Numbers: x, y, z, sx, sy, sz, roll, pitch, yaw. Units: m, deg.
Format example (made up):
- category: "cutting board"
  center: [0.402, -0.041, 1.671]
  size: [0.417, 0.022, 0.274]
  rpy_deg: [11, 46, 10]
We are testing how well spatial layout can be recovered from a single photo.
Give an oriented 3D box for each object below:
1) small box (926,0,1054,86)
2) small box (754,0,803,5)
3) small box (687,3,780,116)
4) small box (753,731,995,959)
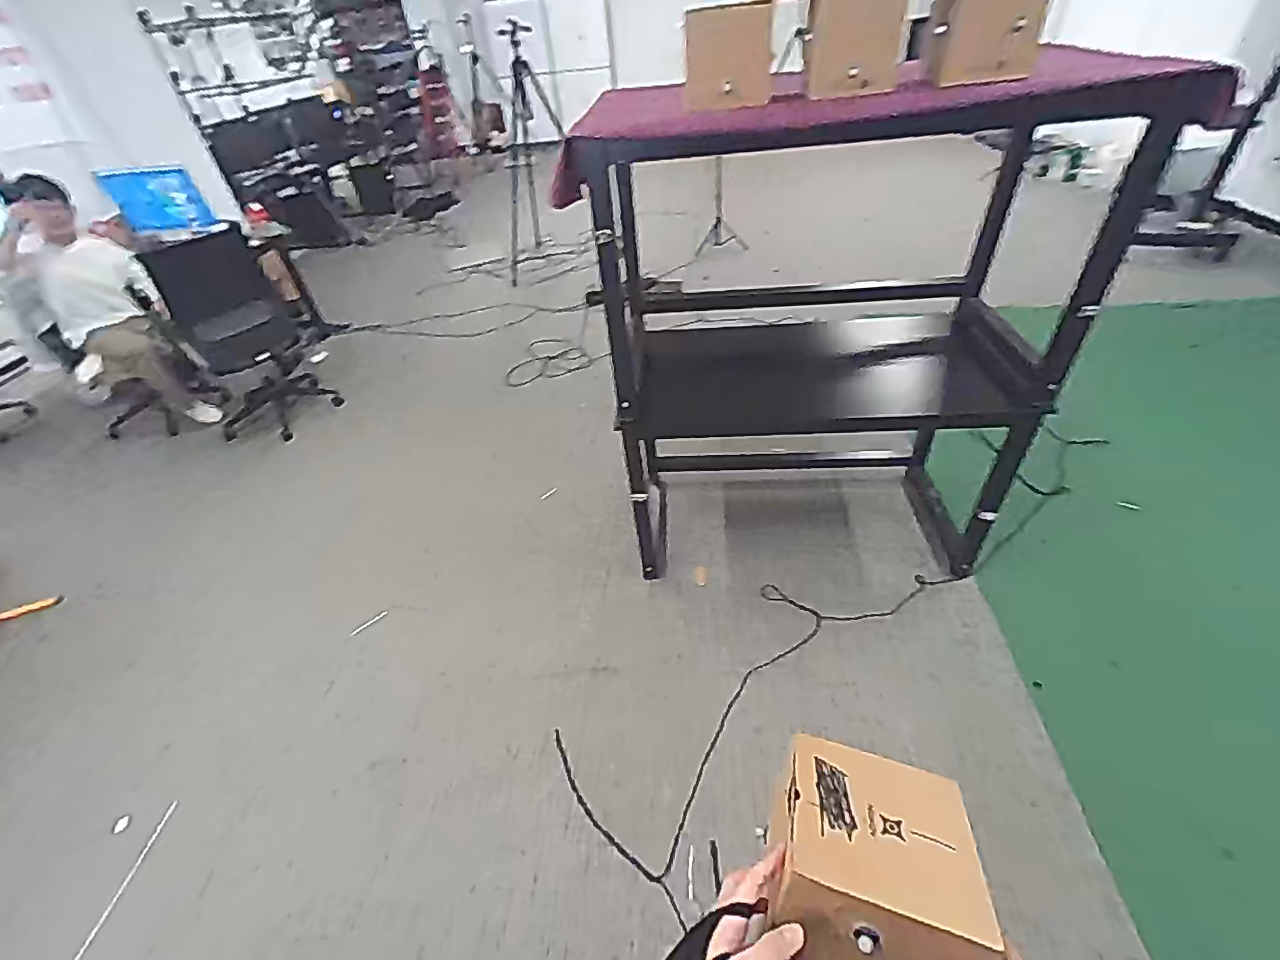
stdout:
- category: "small box"
  center: [0.690, -0.895, 1.073]
  size: [0.168, 0.176, 0.179]
  rpy_deg: [1, 40, 10]
- category: "small box"
  center: [0.301, -1.005, 1.010]
  size: [0.168, 0.176, 0.179]
  rpy_deg: [-1, 41, 9]
- category: "small box"
  center: [0.190, -0.881, 1.134]
  size: [0.179, 0.176, 0.168]
  rpy_deg: [-1, 41, 7]
- category: "small box"
  center: [0.222, 0.405, 0.559]
  size: [0.179, 0.176, 0.168]
  rpy_deg: [13, 24, 13]
